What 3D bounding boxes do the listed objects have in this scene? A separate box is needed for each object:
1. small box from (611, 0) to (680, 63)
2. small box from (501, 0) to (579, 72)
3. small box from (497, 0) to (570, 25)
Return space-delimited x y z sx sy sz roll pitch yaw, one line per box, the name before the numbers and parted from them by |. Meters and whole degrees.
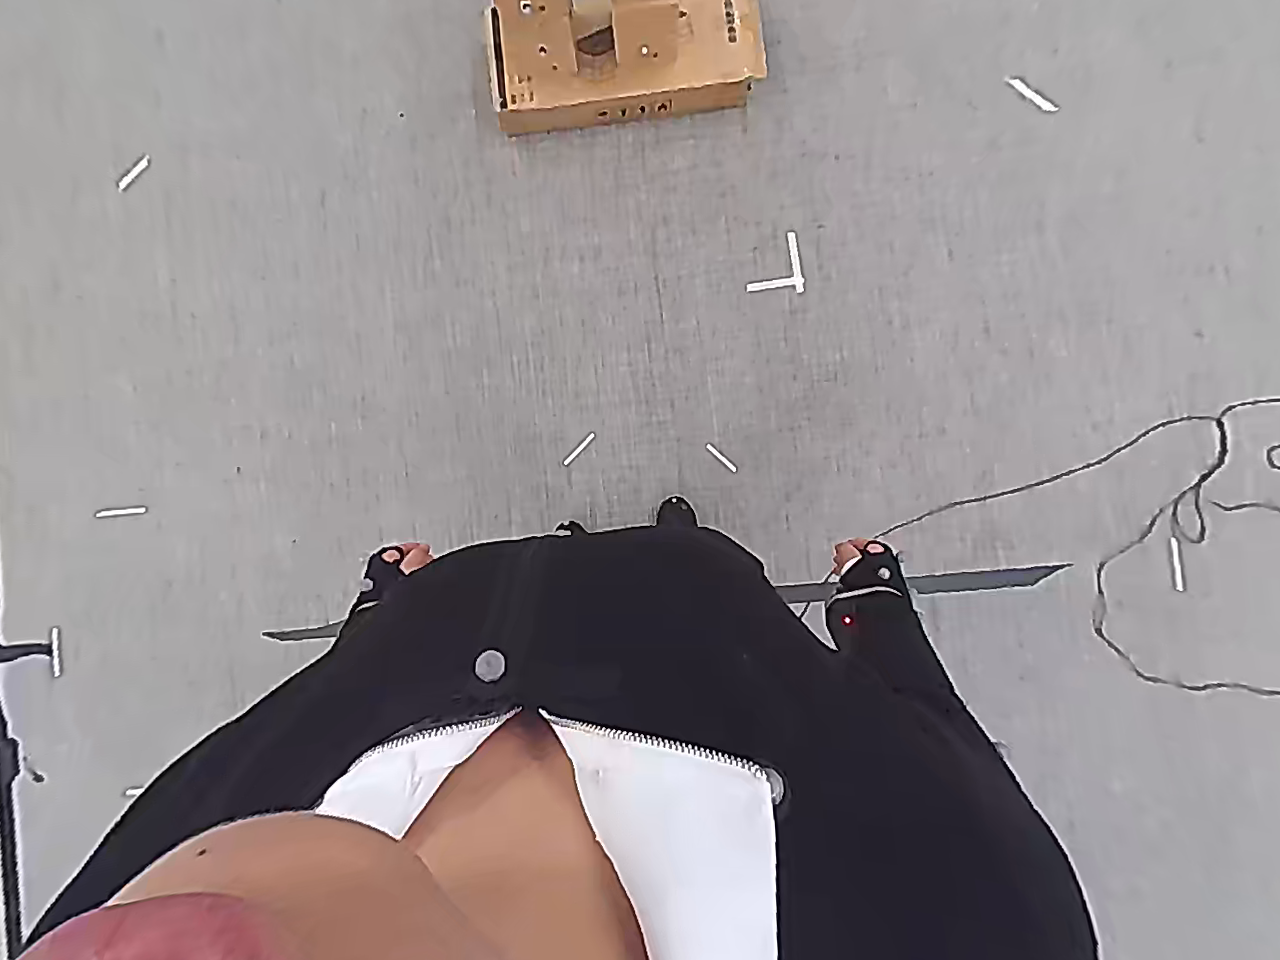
small box | 0.015 -1.210 1.371 0.168 0.176 0.179 -2 88 4
small box | -0.253 -1.184 1.381 0.168 0.176 0.179 -4 88 3
small box | -0.264 -1.191 1.217 0.168 0.176 0.179 -11 87 3
